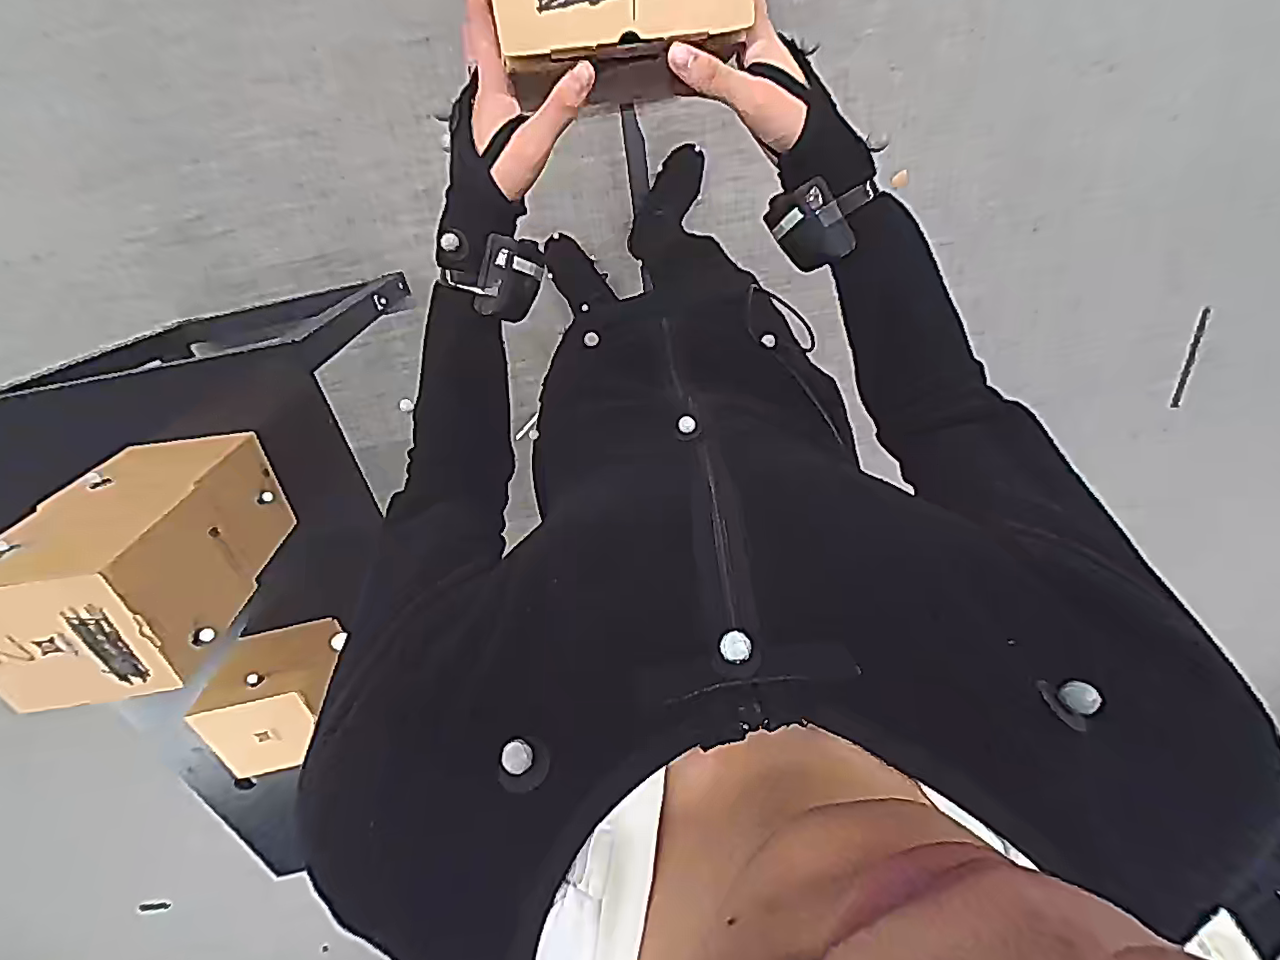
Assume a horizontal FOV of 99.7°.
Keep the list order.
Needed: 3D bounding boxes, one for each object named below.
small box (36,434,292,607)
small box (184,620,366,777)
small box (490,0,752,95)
[{"bbox_3d":[-0.633,0.049,0.751,0.179,0.176,0.168,-8,121,-5],"label":"small box"},{"bbox_3d":[-0.612,0.371,0.936,0.179,0.176,0.168,-13,120,-3],"label":"small box"},{"bbox_3d":[-0.025,-0.390,0.378,0.168,0.176,0.179,-9,115,-3],"label":"small box"}]
